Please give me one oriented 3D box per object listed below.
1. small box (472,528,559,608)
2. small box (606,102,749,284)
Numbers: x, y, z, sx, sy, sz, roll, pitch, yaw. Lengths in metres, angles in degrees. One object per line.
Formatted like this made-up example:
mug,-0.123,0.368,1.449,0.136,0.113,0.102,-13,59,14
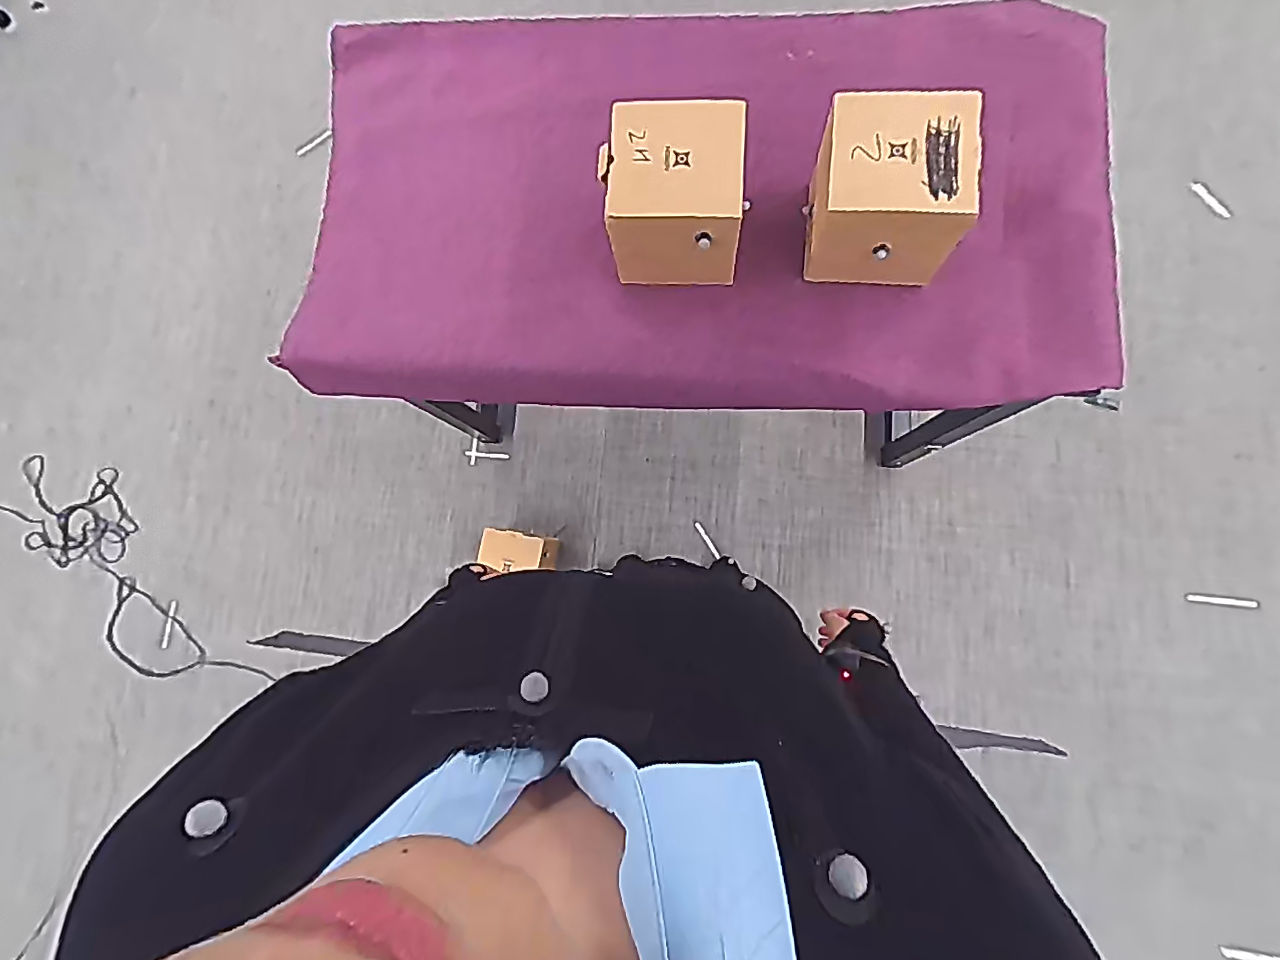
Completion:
small box,-0.328,0.235,1.458,0.168,0.176,0.179,10,83,7
small box,0.055,-0.395,0.767,0.179,0.176,0.168,3,81,7
